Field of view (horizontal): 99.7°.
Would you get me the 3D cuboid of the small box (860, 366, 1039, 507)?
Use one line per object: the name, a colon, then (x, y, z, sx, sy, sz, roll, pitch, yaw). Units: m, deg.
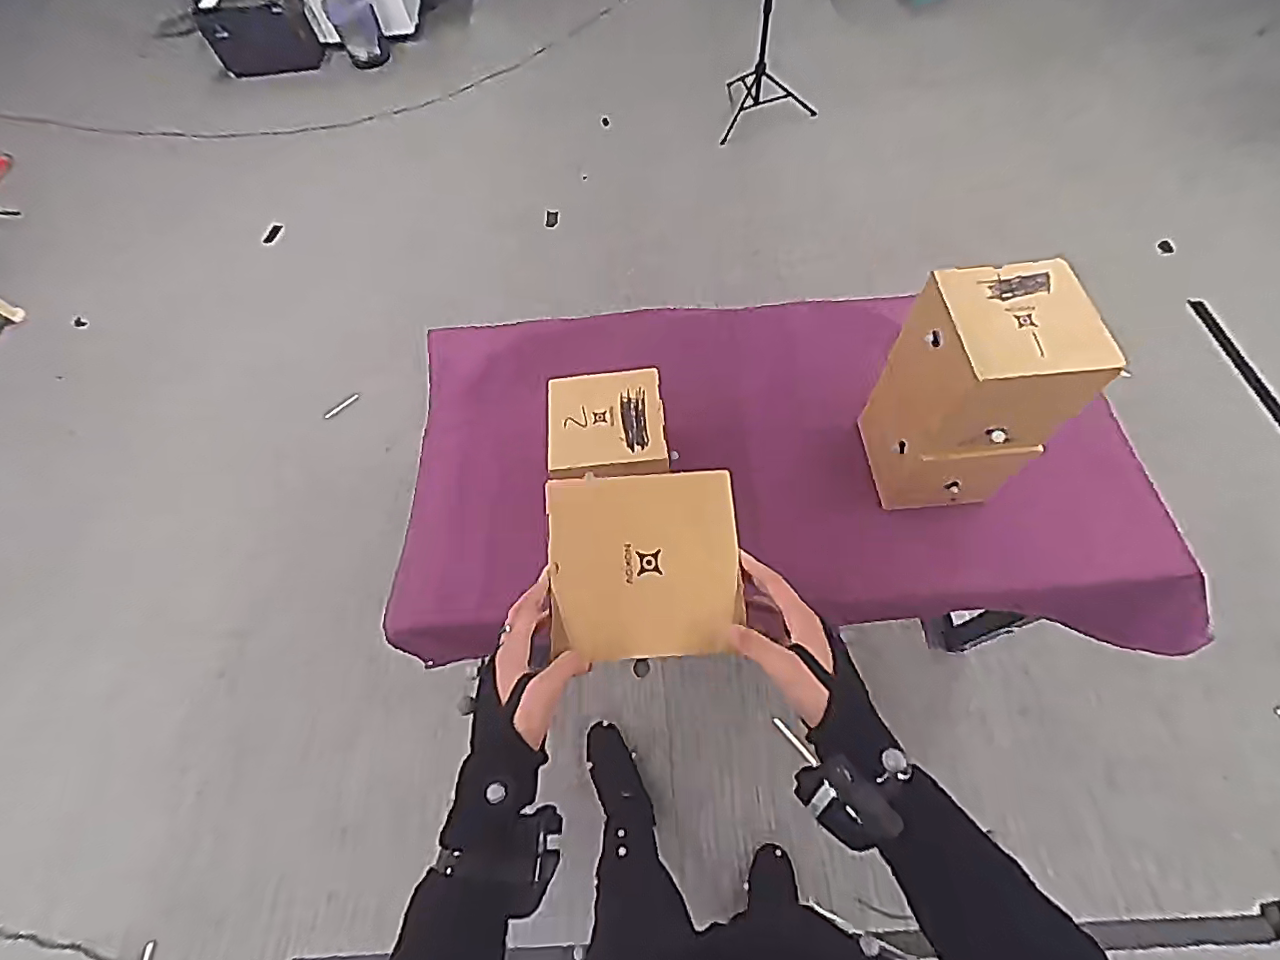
small box: (0.469, -0.066, 0.852, 0.168, 0.176, 0.179, -5, 62, 2)

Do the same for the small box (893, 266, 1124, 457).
small box: (0.458, -0.150, 0.711, 0.168, 0.176, 0.179, -5, 63, 2)

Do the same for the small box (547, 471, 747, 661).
small box: (0.003, 0.095, 0.568, 0.179, 0.176, 0.168, -4, 74, 0)
